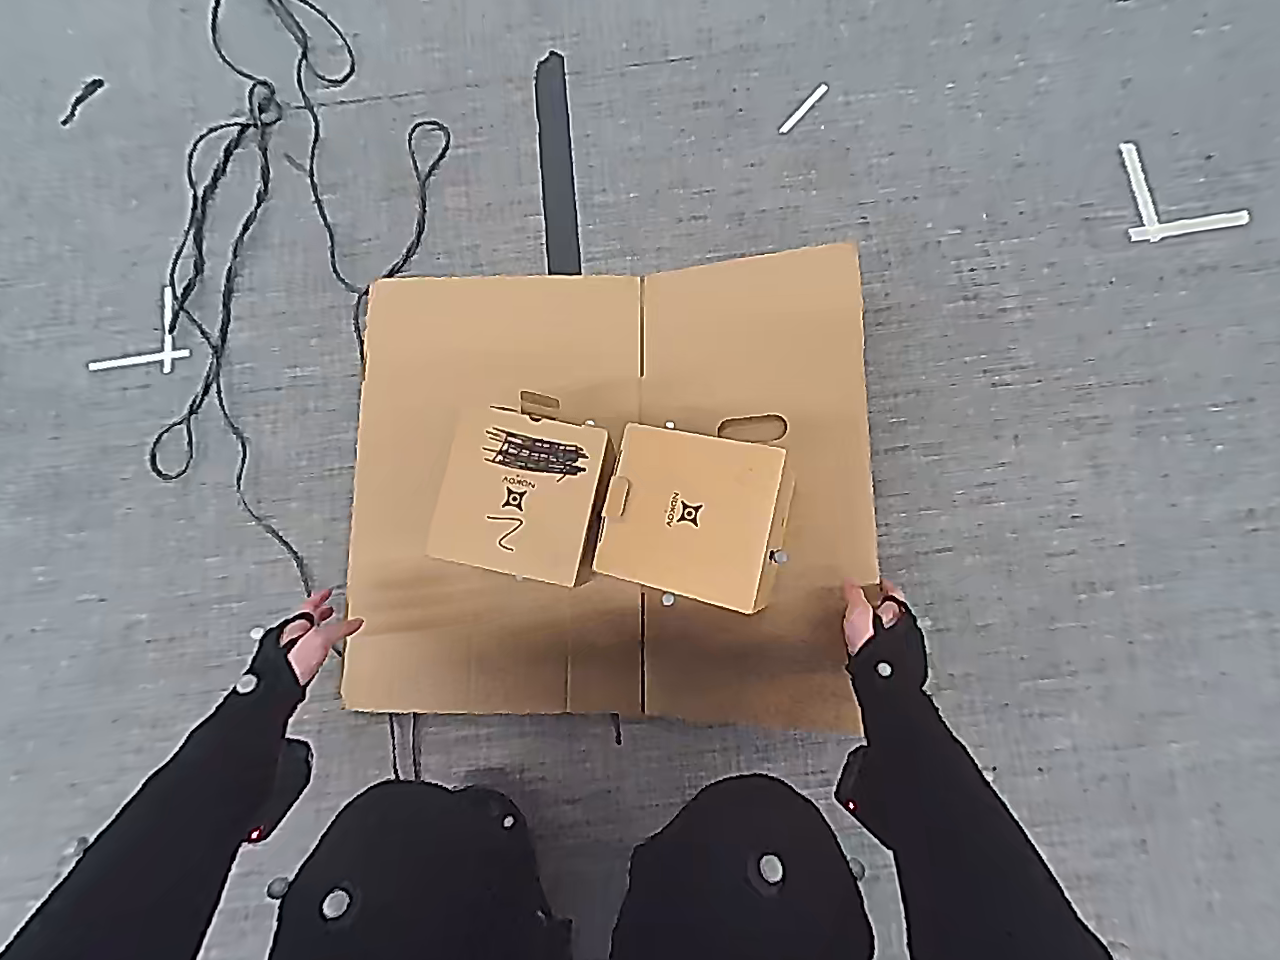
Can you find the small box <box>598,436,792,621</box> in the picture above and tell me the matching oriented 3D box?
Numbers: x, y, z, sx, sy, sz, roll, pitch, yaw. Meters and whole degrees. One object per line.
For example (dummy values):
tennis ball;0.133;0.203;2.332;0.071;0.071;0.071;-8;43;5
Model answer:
small box;0.077;0.057;0.641;0.179;0.176;0.168;11;85;20
